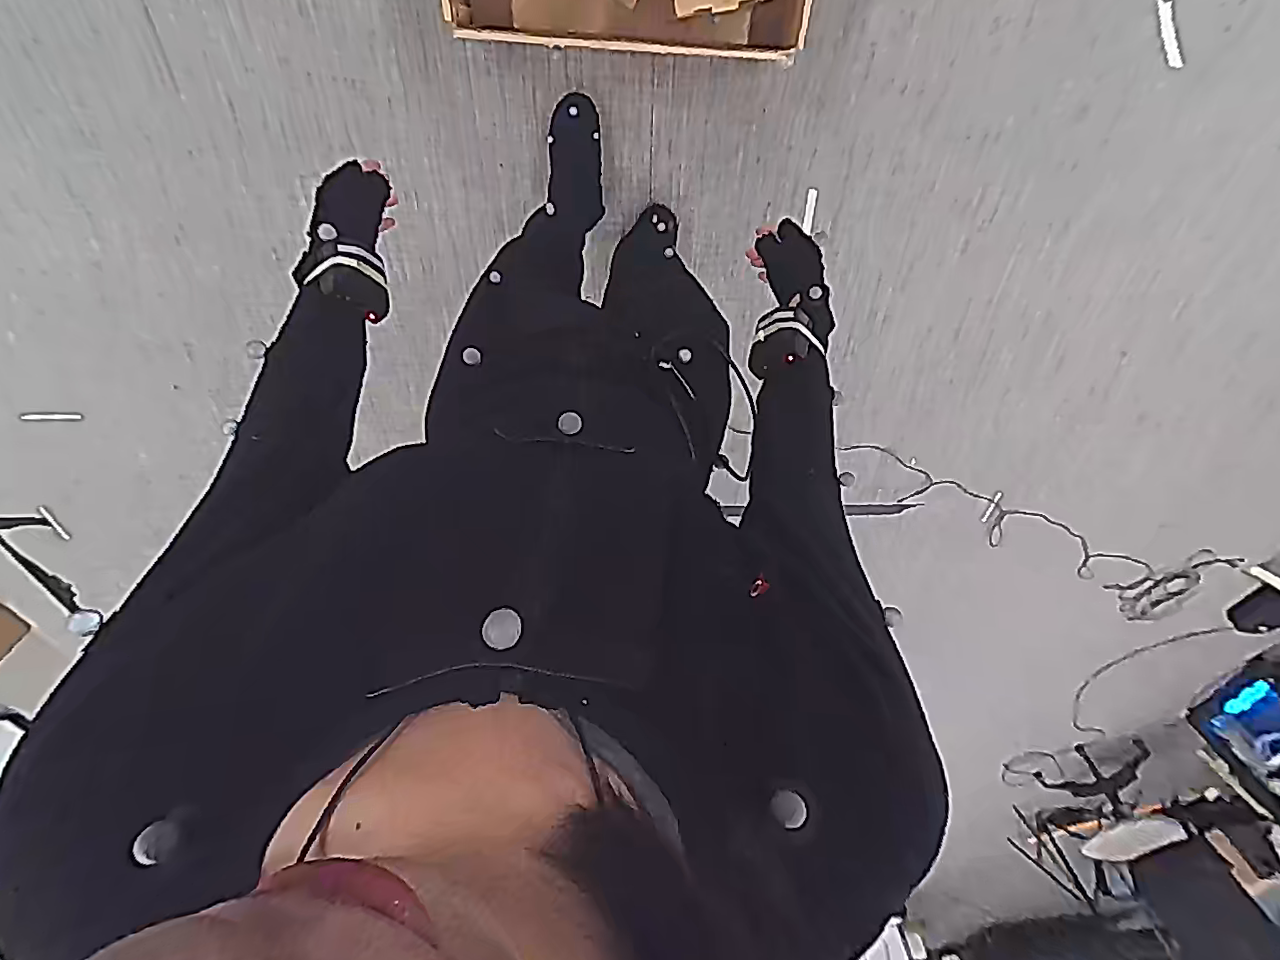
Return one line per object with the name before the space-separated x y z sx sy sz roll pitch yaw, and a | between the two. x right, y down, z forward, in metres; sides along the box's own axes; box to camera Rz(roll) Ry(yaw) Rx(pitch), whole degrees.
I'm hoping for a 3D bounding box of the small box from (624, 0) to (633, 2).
small box | -0.030 -0.808 0.743 0.179 0.176 0.168 28 118 -23
